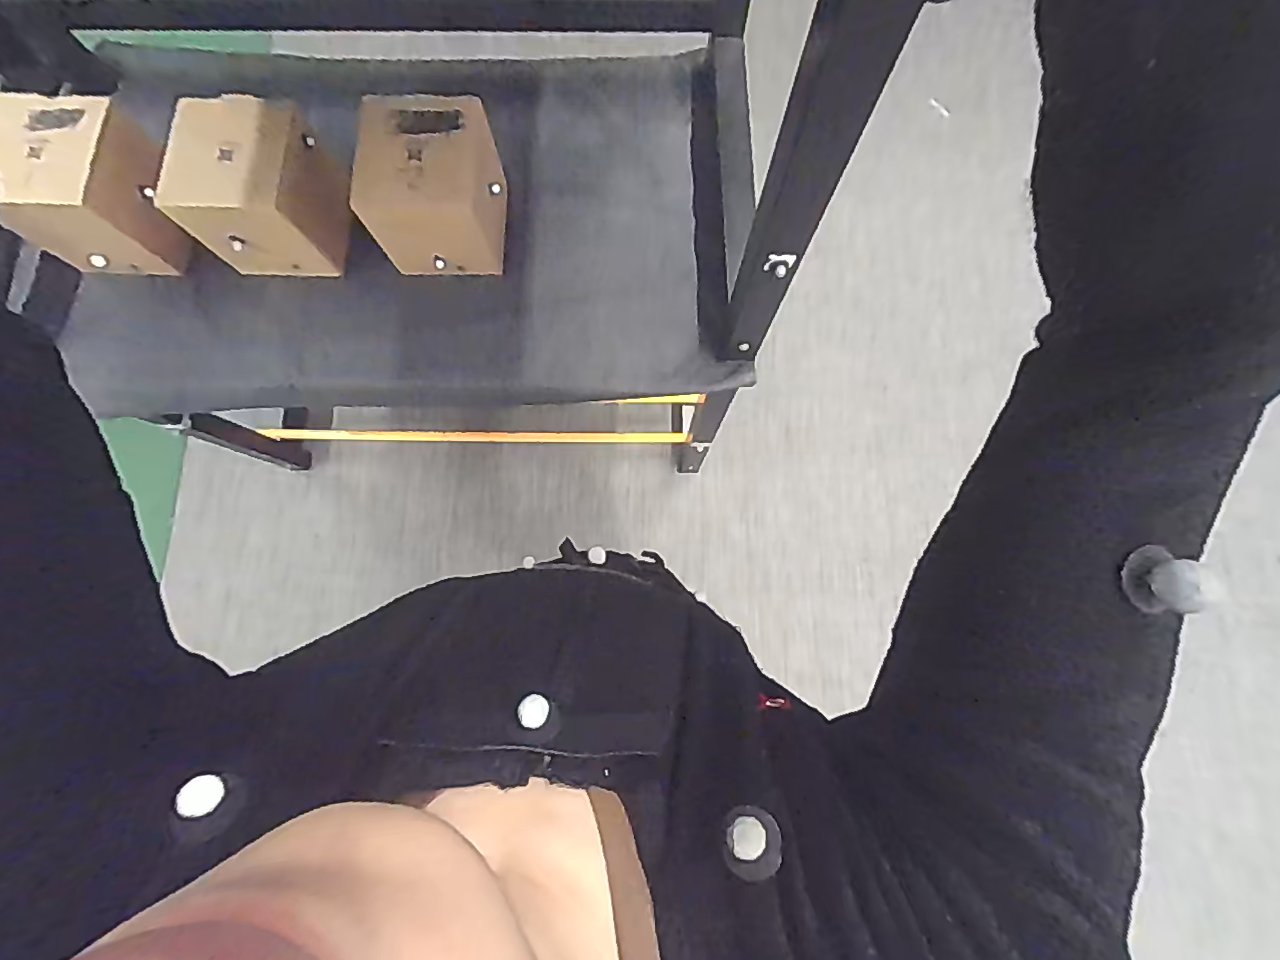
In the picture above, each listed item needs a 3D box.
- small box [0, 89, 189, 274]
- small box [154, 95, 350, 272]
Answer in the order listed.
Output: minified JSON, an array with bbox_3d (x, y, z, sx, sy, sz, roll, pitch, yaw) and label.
[{"bbox_3d":[-0.819,-0.438,0.811,0.168,0.176,0.179,1,79,0],"label":"small box"},{"bbox_3d":[-0.566,-0.434,0.815,0.168,0.176,0.179,1,78,0],"label":"small box"}]
